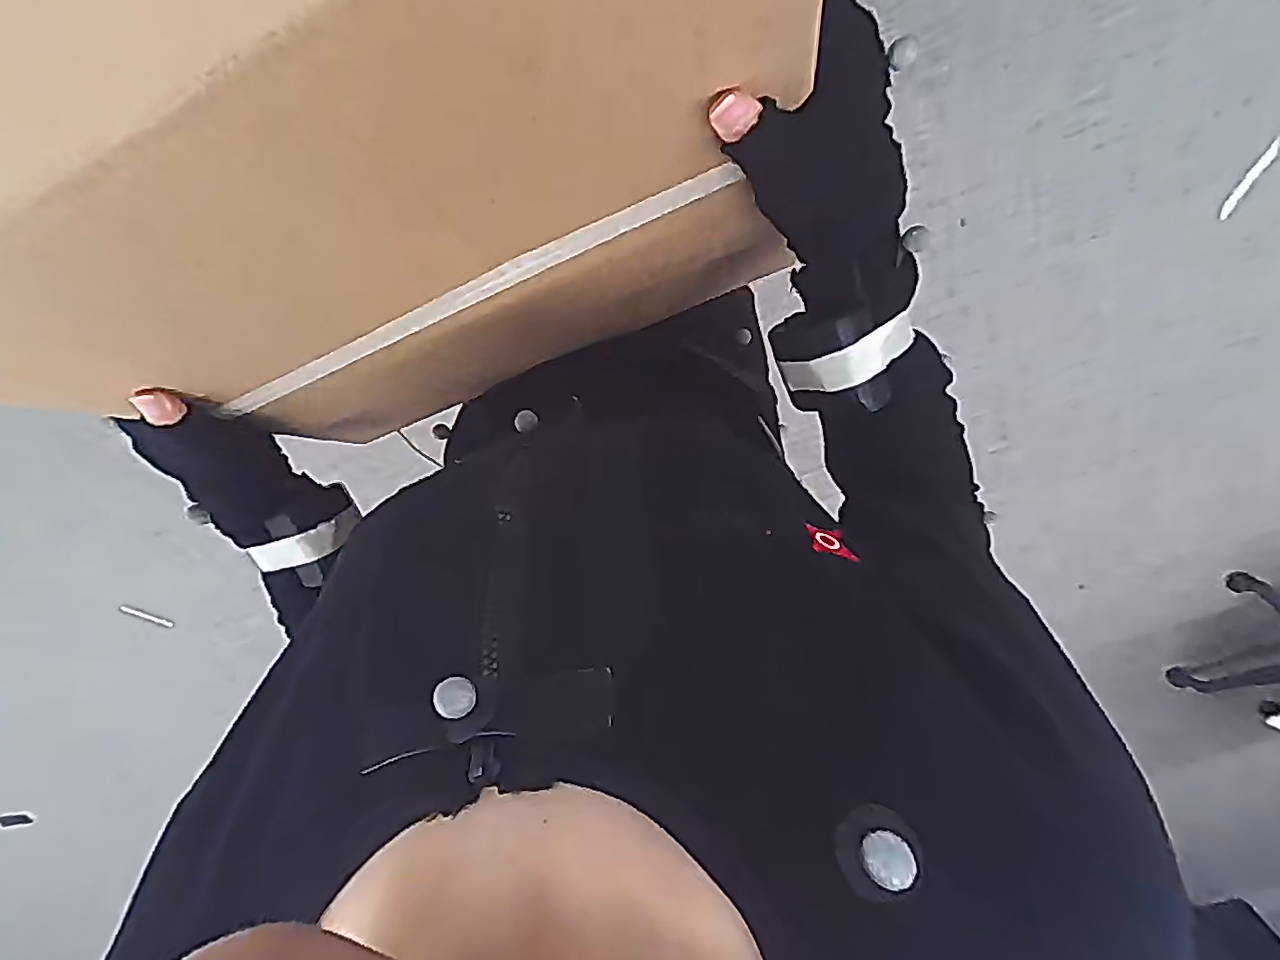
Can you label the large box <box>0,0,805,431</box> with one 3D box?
[{"bbox_3d":[-0.152,-0.256,0.325,0.408,0.320,0.320,-20,85,12],"label":"large box"}]
